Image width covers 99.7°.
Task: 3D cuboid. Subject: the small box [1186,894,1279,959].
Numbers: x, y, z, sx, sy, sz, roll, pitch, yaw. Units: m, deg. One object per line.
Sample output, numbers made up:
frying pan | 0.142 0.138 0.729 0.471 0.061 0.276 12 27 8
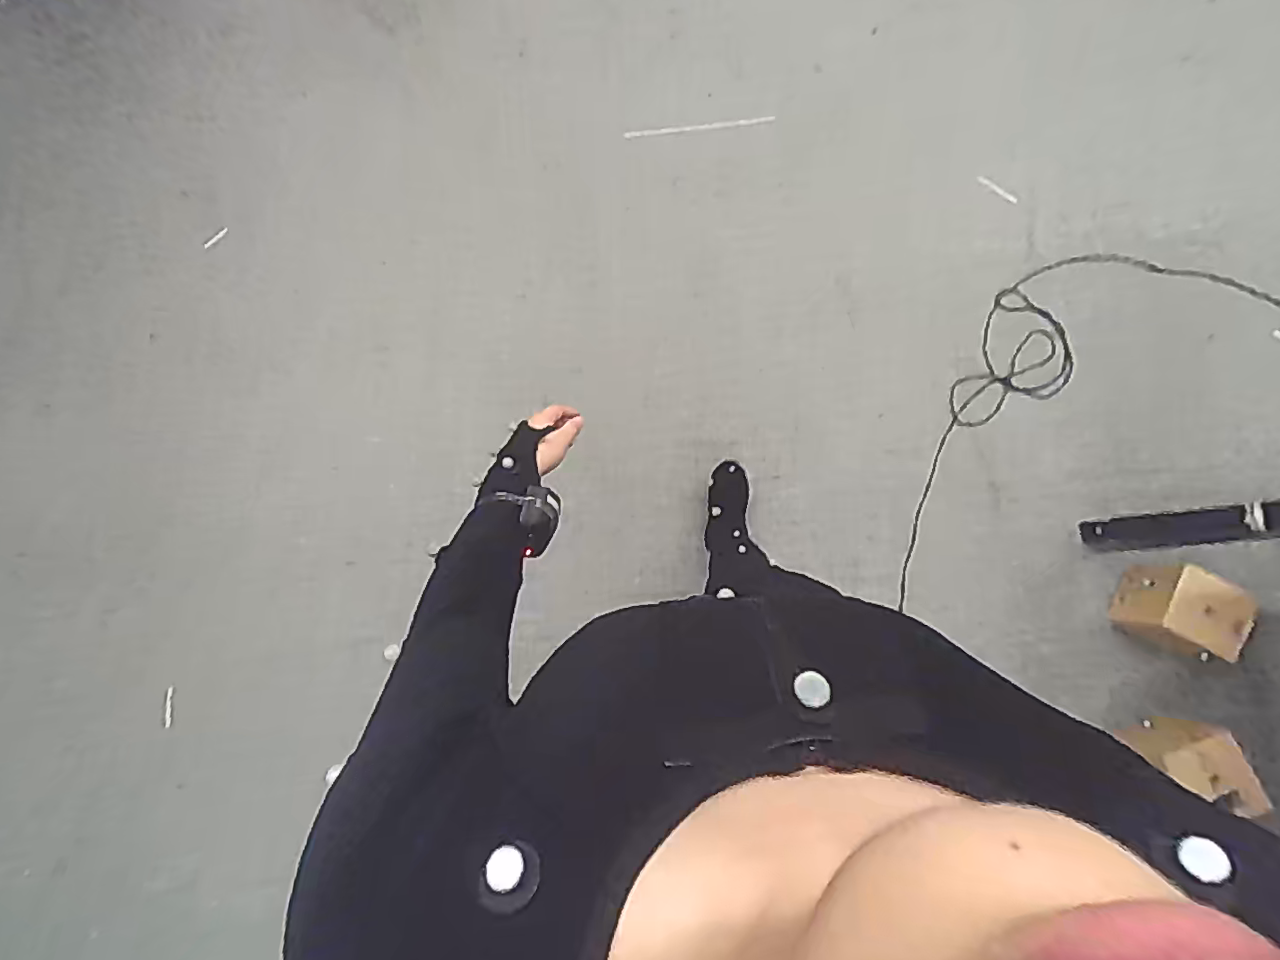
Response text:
small box | 1.352 1.043 1.175 0.168 0.176 0.179 1 81 3

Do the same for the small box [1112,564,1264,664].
small box | 1.310 0.320 1.308 0.179 0.176 0.168 28 82 7
